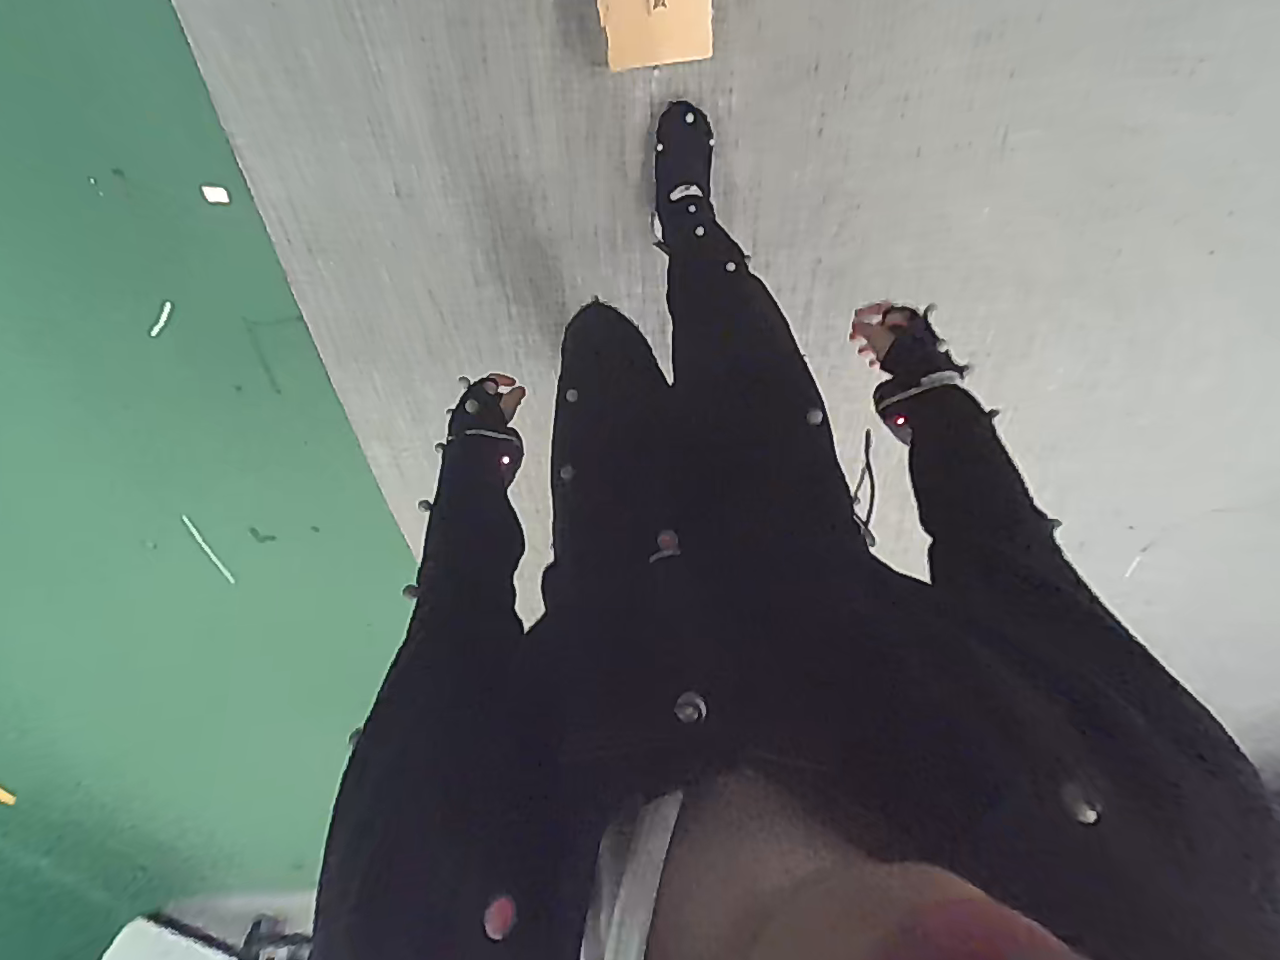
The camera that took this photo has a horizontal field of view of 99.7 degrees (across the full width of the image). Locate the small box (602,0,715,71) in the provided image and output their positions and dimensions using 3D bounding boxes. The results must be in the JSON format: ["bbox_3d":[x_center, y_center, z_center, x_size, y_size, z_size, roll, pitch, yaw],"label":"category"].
[{"bbox_3d":[0.027,-0.803,0.906,0.179,0.176,0.168,-5,129,4],"label":"small box"}]
